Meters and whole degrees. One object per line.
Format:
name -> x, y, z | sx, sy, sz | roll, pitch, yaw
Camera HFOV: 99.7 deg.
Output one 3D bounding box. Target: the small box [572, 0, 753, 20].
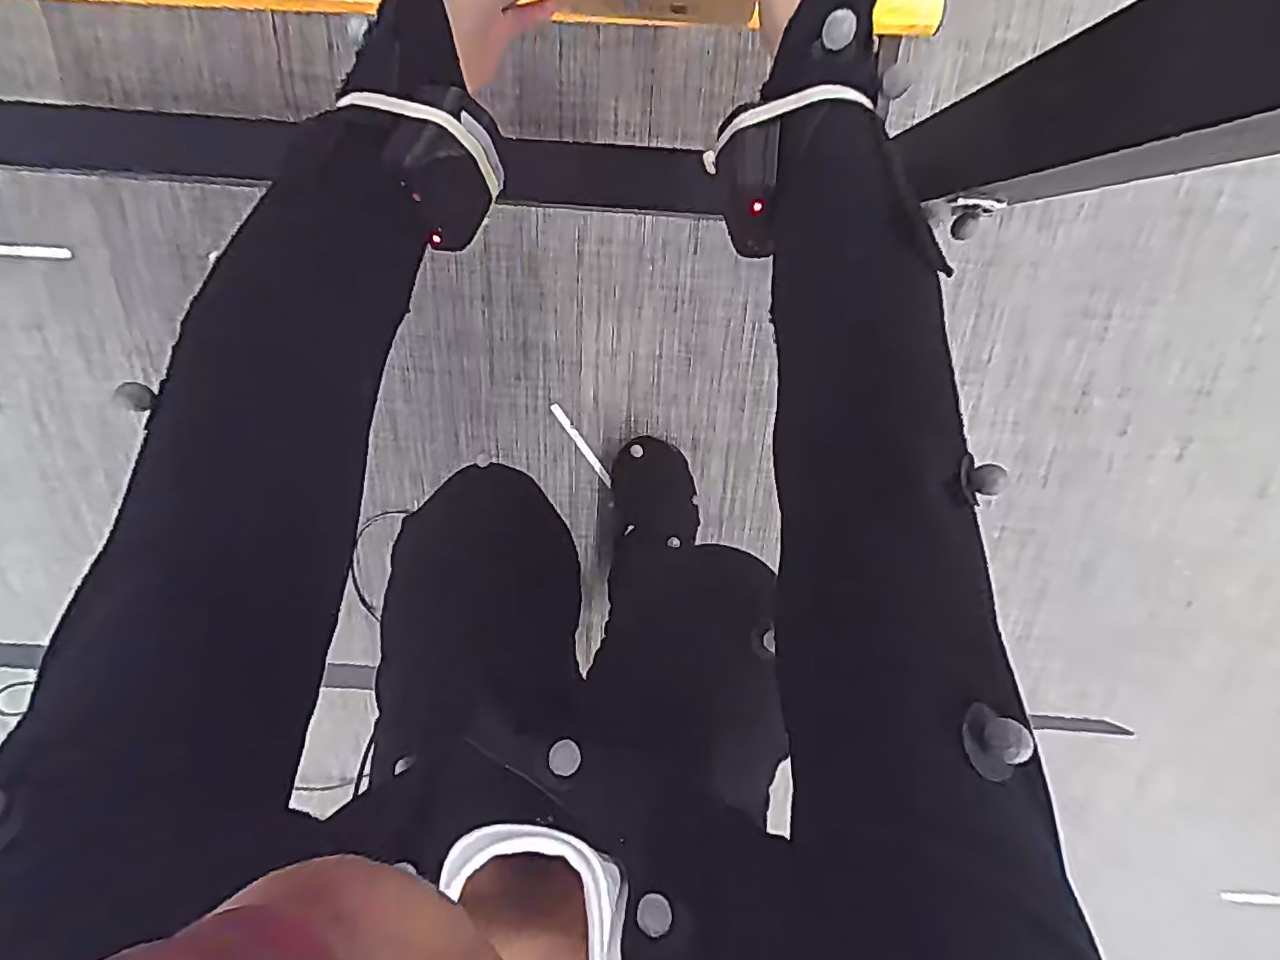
small box -> 0.016, -0.437, 0.342 | 0.168, 0.176, 0.179 | 4, 114, 0
